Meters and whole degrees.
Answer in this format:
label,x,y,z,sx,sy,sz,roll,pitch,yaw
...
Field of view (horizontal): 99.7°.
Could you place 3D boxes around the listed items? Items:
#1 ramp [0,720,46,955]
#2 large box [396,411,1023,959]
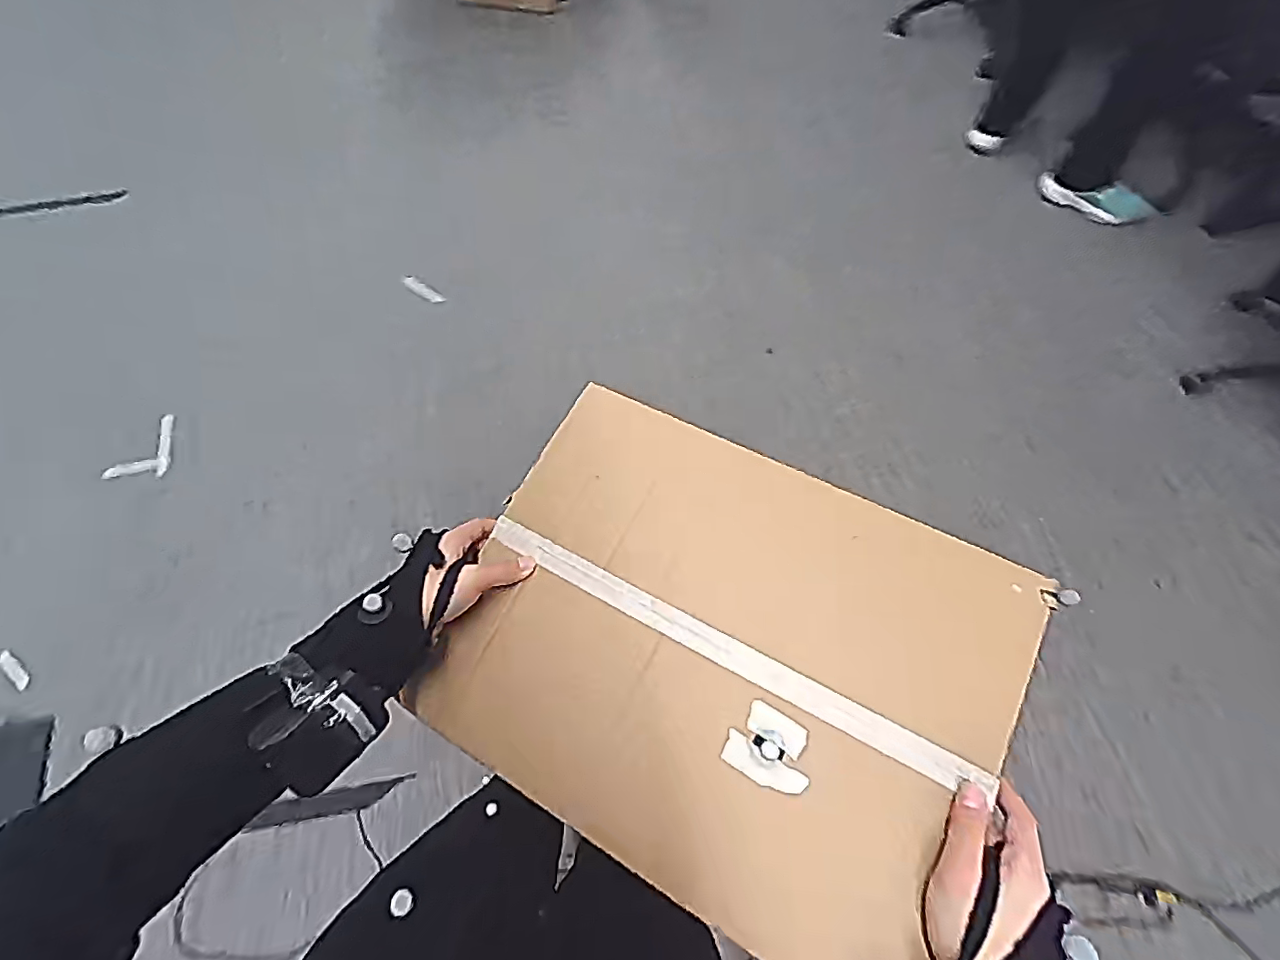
label,x,y,z,sx,sy,sz,roll,pitch,yaw
ramp,-1.743,0.788,0.985,0.991,0.206,0.509,-10,68,-5
large box,0.063,0.190,0.554,0.408,0.320,0.320,24,74,15
